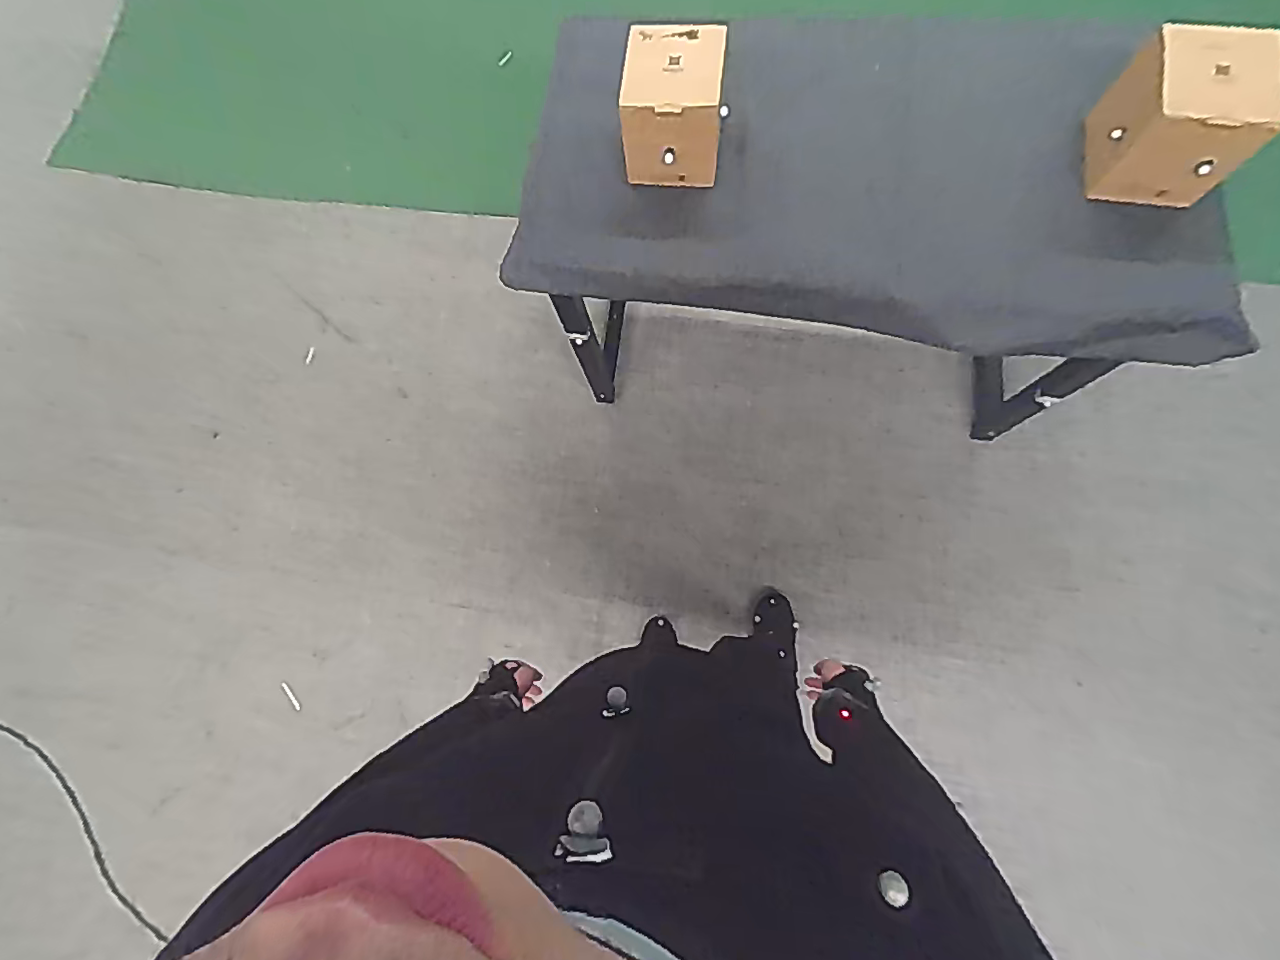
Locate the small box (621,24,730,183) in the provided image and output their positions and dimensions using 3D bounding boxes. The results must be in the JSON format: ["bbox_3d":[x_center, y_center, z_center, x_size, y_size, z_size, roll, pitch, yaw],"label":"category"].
[{"bbox_3d":[0.067,-0.664,0.968,0.168,0.176,0.179,6,77,6],"label":"small box"}]

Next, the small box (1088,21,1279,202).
[{"bbox_3d":[0.864,-0.580,0.867,0.168,0.176,0.179,10,76,7],"label":"small box"}]
